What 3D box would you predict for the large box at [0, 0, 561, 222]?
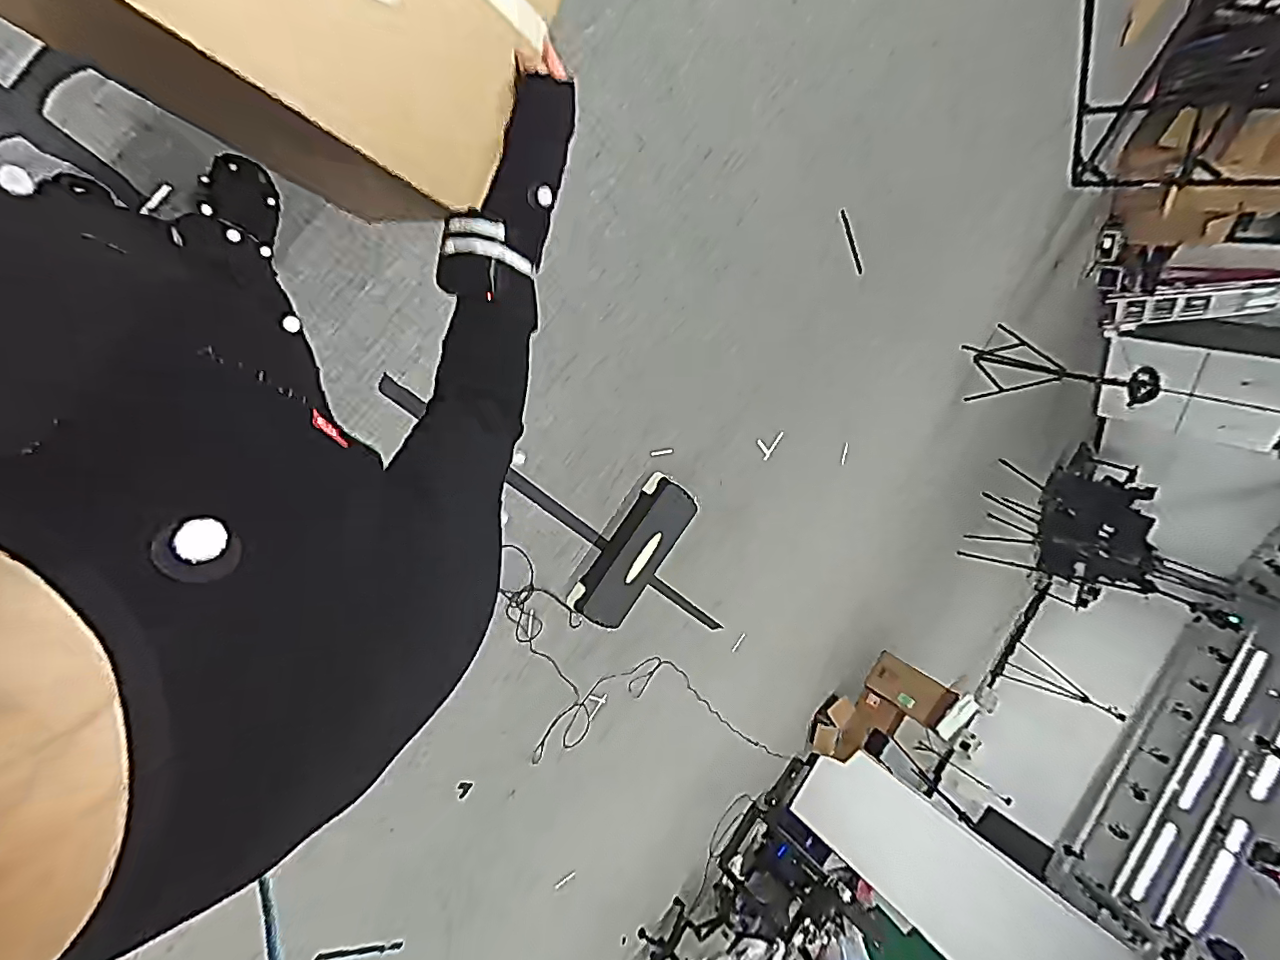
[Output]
[{"bbox_3d":[-0.316,-0.459,0.426,0.408,0.320,0.320,21,95,-46],"label":"large box"}]
